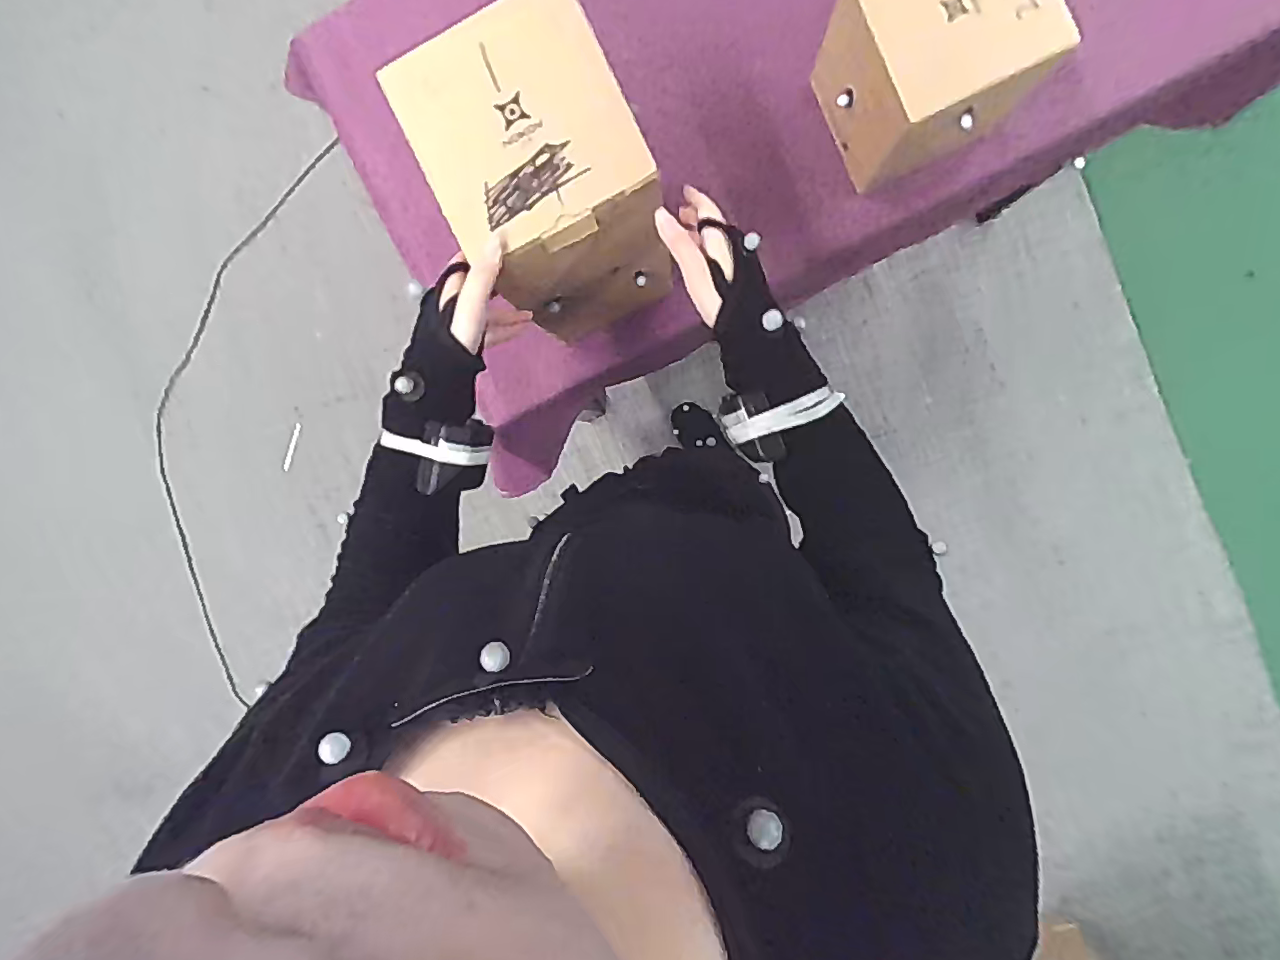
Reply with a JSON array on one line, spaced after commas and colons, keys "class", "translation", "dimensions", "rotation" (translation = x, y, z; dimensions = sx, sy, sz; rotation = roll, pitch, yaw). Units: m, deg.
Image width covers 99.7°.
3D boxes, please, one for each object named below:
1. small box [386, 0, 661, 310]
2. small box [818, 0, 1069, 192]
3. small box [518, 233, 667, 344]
[{"class": "small box", "translation": [-0.087, -0.278, 0.502], "dimensions": [0.168, 0.176, 0.179], "rotation": [-26, 91, 5]}, {"class": "small box", "translation": [0.322, -0.470, 0.620], "dimensions": [0.179, 0.176, 0.168], "rotation": [-24, 93, 6]}, {"class": "small box", "translation": [-0.075, -0.287, 0.666], "dimensions": [0.179, 0.176, 0.168], "rotation": [-26, 92, 5]}]
